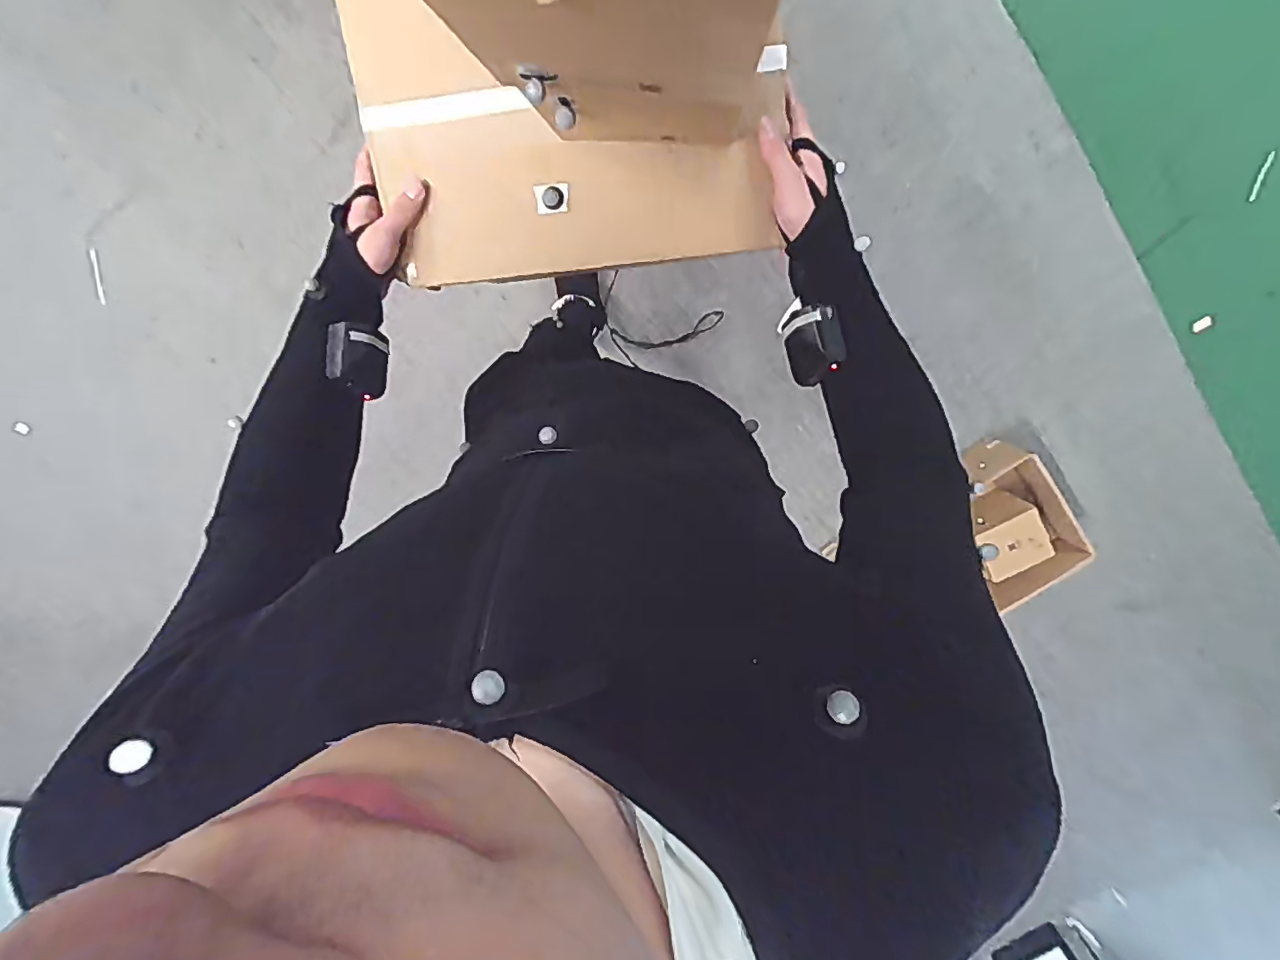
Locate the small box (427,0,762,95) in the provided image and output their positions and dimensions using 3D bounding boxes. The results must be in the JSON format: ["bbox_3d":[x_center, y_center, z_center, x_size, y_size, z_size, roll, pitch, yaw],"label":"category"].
[{"bbox_3d":[-0.016,-0.303,0.245,0.168,0.176,0.179,6,110,2],"label":"small box"}]
